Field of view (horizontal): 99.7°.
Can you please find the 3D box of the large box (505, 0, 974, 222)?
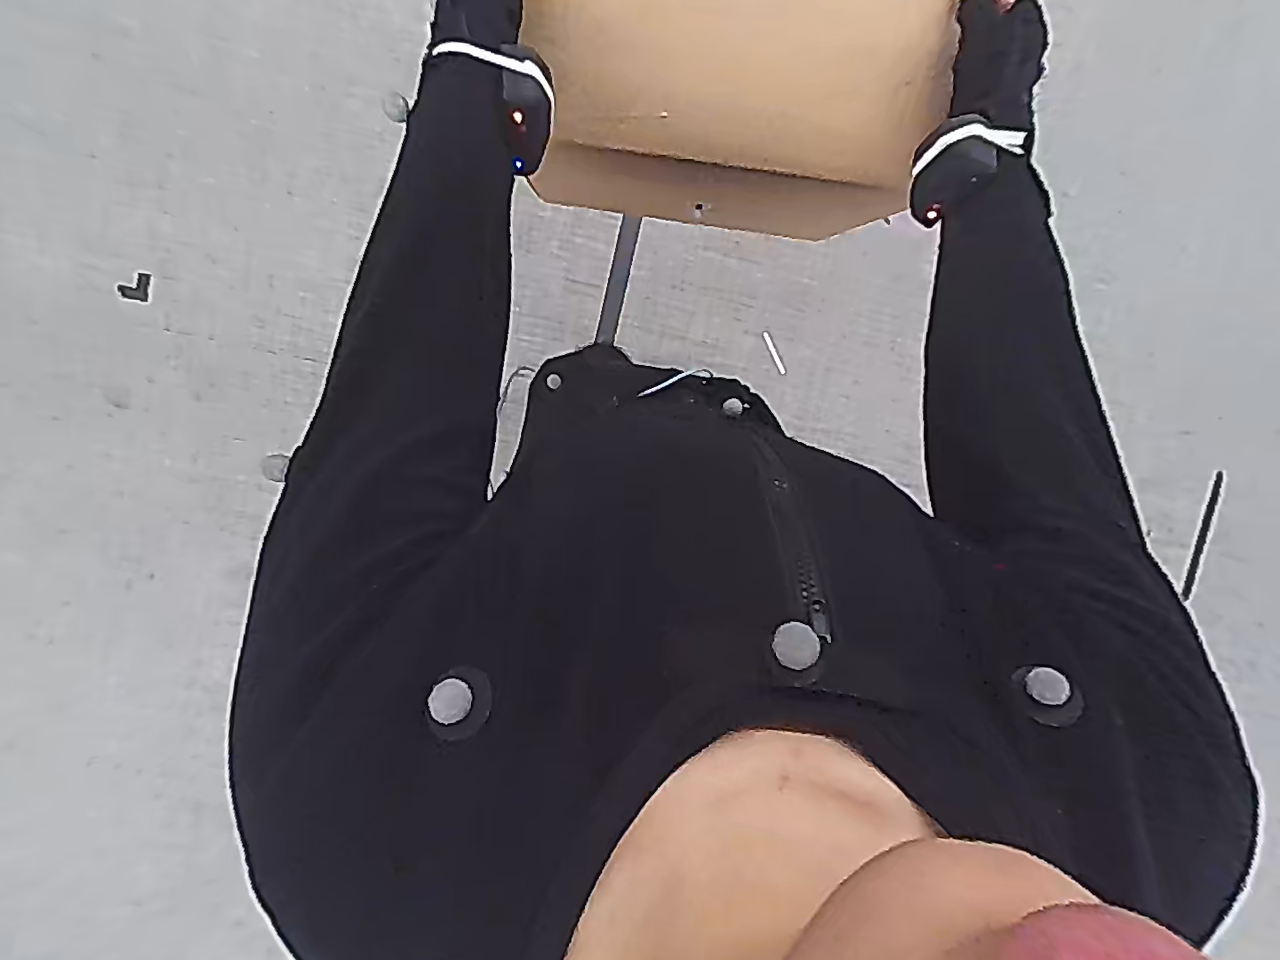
[{"bbox_3d":[0.088,-0.486,0.587,0.408,0.320,0.320,5,106,-4],"label":"large box"}]
